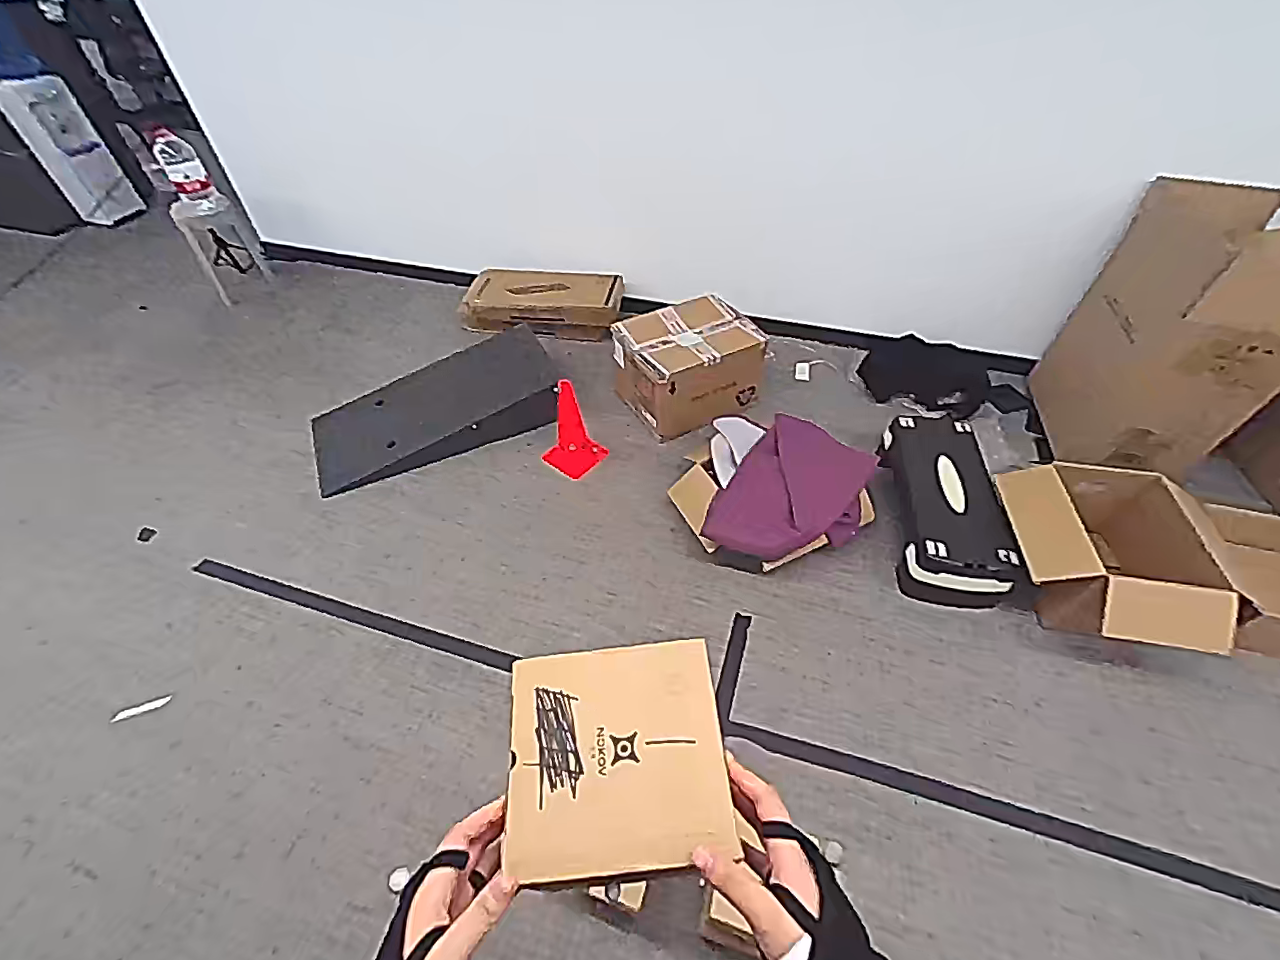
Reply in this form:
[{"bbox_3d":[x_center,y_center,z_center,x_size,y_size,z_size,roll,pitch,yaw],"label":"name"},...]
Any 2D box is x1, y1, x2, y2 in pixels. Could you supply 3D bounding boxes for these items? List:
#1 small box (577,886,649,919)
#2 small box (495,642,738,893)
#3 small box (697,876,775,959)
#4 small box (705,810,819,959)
[{"bbox_3d":[-0.052,0.813,1.168,0.168,0.176,0.179,14,50,14],"label":"small box"},{"bbox_3d":[-0.015,0.263,0.488,0.179,0.176,0.168,-6,52,1],"label":"small box"},{"bbox_3d":[0.224,0.870,1.112,0.179,0.176,0.168,13,49,12],"label":"small box"},{"bbox_3d":[0.221,0.752,1.001,0.168,0.176,0.179,13,50,13],"label":"small box"}]
